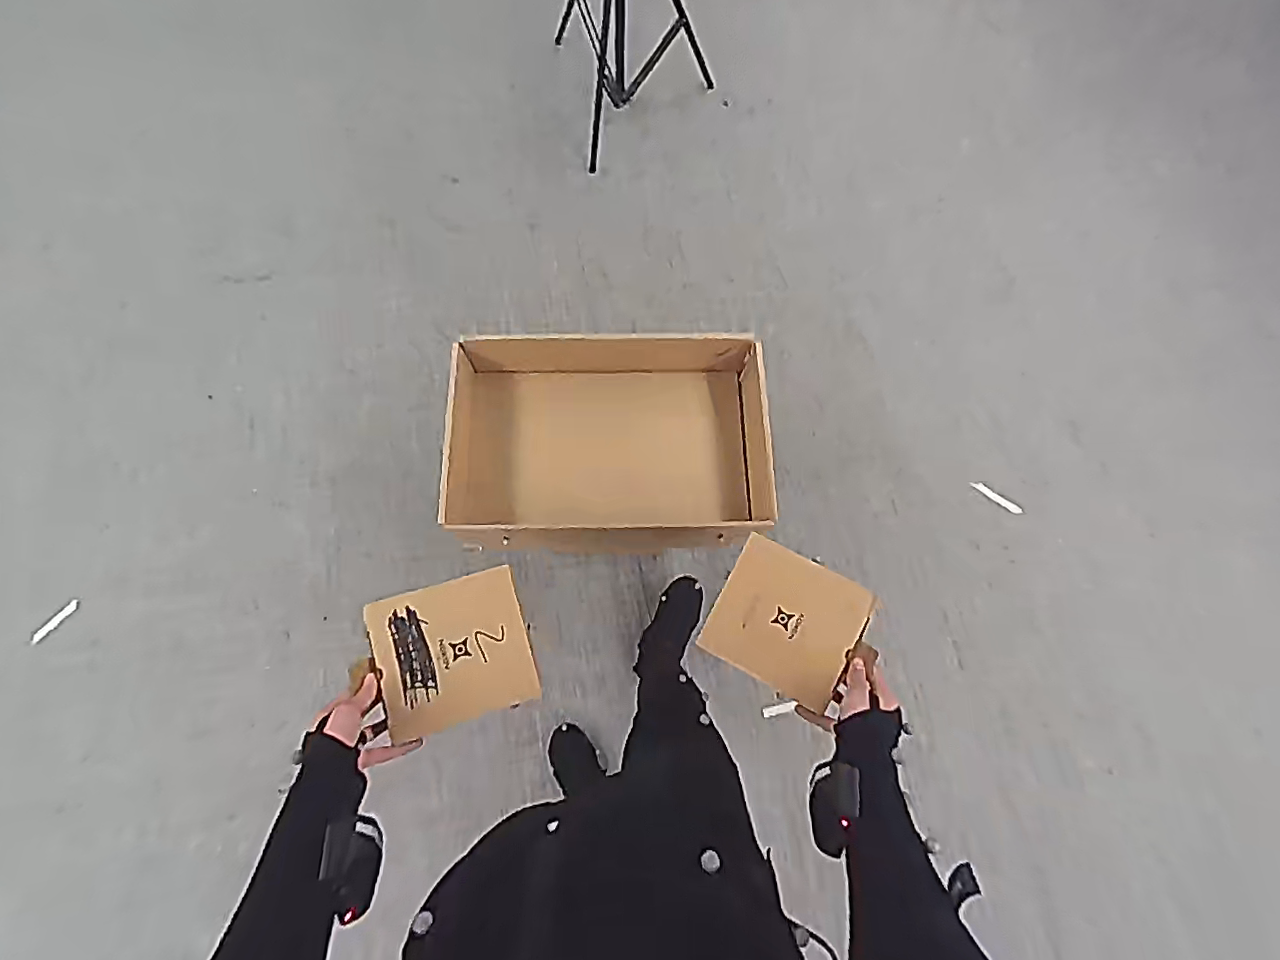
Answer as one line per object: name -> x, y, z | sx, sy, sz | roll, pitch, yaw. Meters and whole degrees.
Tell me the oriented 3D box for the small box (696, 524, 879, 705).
small box -> 0.195, 0.178, 0.752 | 0.179, 0.176, 0.168 | 27, 84, 14
